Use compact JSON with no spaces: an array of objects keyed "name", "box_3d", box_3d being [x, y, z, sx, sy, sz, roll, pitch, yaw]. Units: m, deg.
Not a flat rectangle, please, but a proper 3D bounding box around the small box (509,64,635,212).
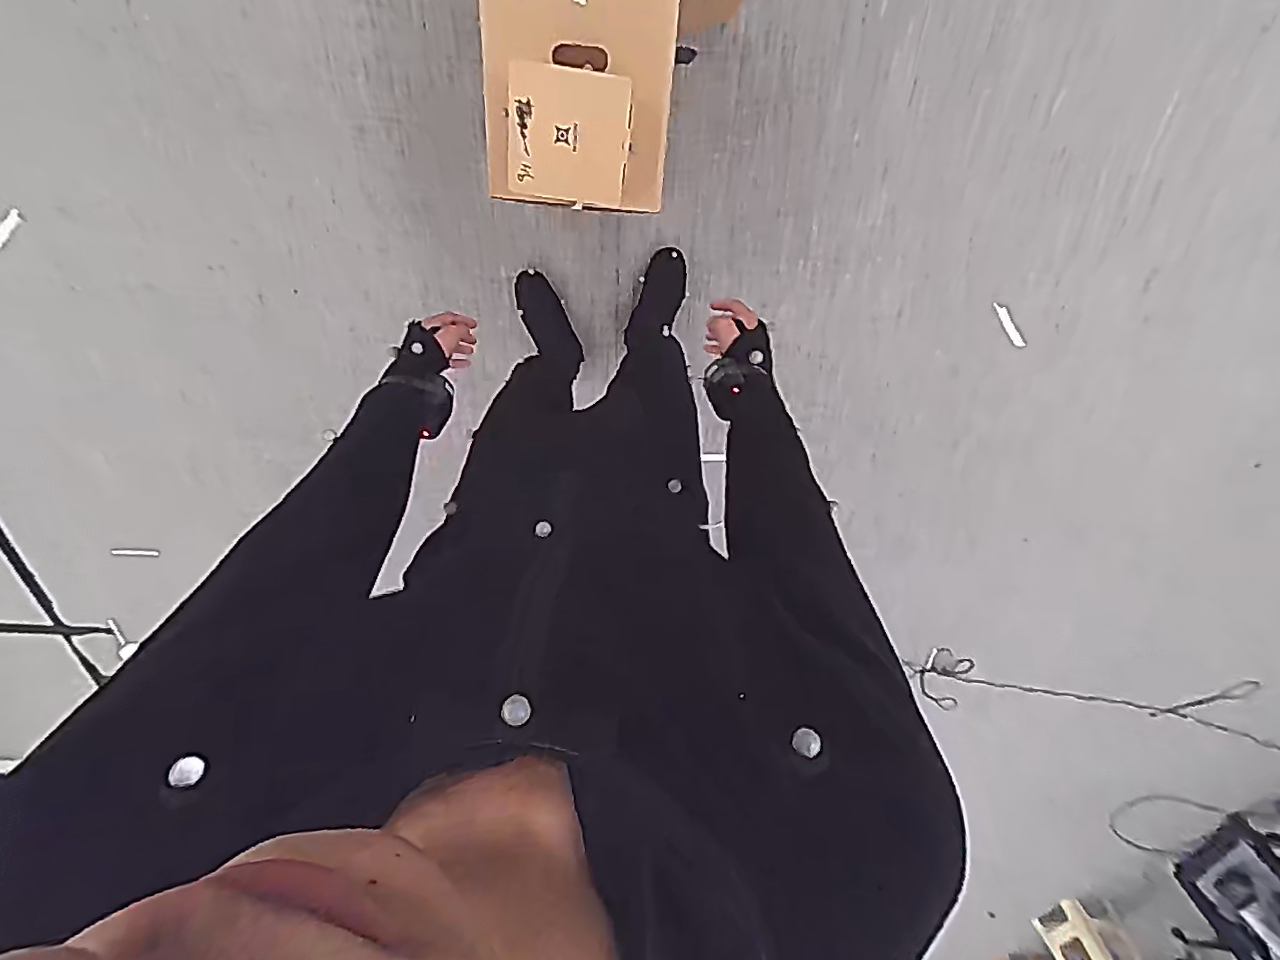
[{"name":"small box","box_3d":[-0.106,-0.541,0.862,0.179,0.176,0.168,6,122,-5]}]
